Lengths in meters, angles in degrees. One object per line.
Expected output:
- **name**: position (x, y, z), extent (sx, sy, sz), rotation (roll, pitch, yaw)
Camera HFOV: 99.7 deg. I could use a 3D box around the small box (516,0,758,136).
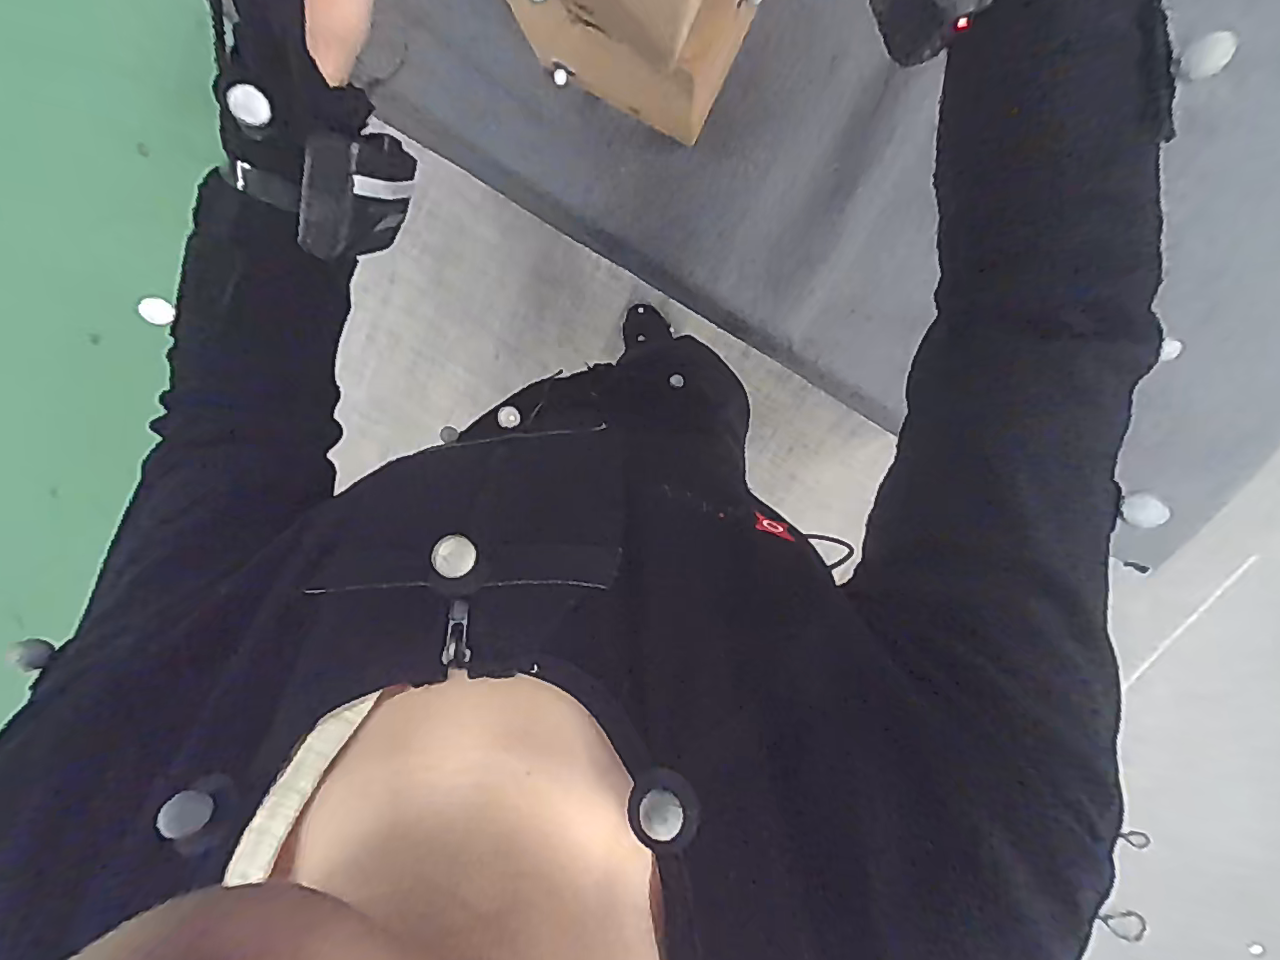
- **small box**: position (0.011, -0.411, 0.419), extent (0.168, 0.176, 0.179), rotation (27, 105, -5)
